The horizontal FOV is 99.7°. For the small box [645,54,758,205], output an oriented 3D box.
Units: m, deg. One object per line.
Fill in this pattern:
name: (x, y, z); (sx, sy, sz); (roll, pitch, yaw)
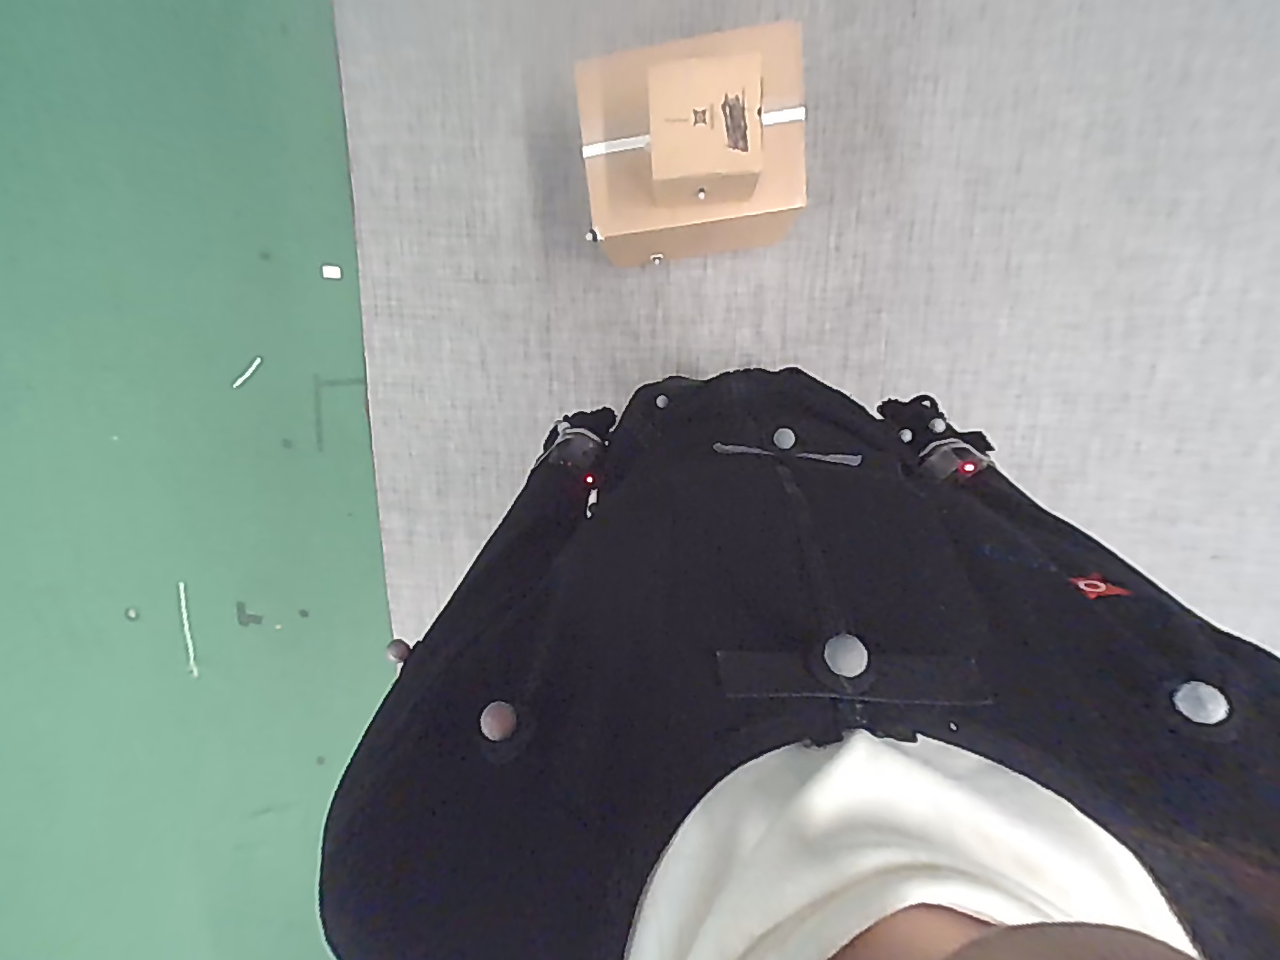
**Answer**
small box: (0.104, -0.584, 0.922); (0.179, 0.176, 0.168); (-1, 102, 6)
